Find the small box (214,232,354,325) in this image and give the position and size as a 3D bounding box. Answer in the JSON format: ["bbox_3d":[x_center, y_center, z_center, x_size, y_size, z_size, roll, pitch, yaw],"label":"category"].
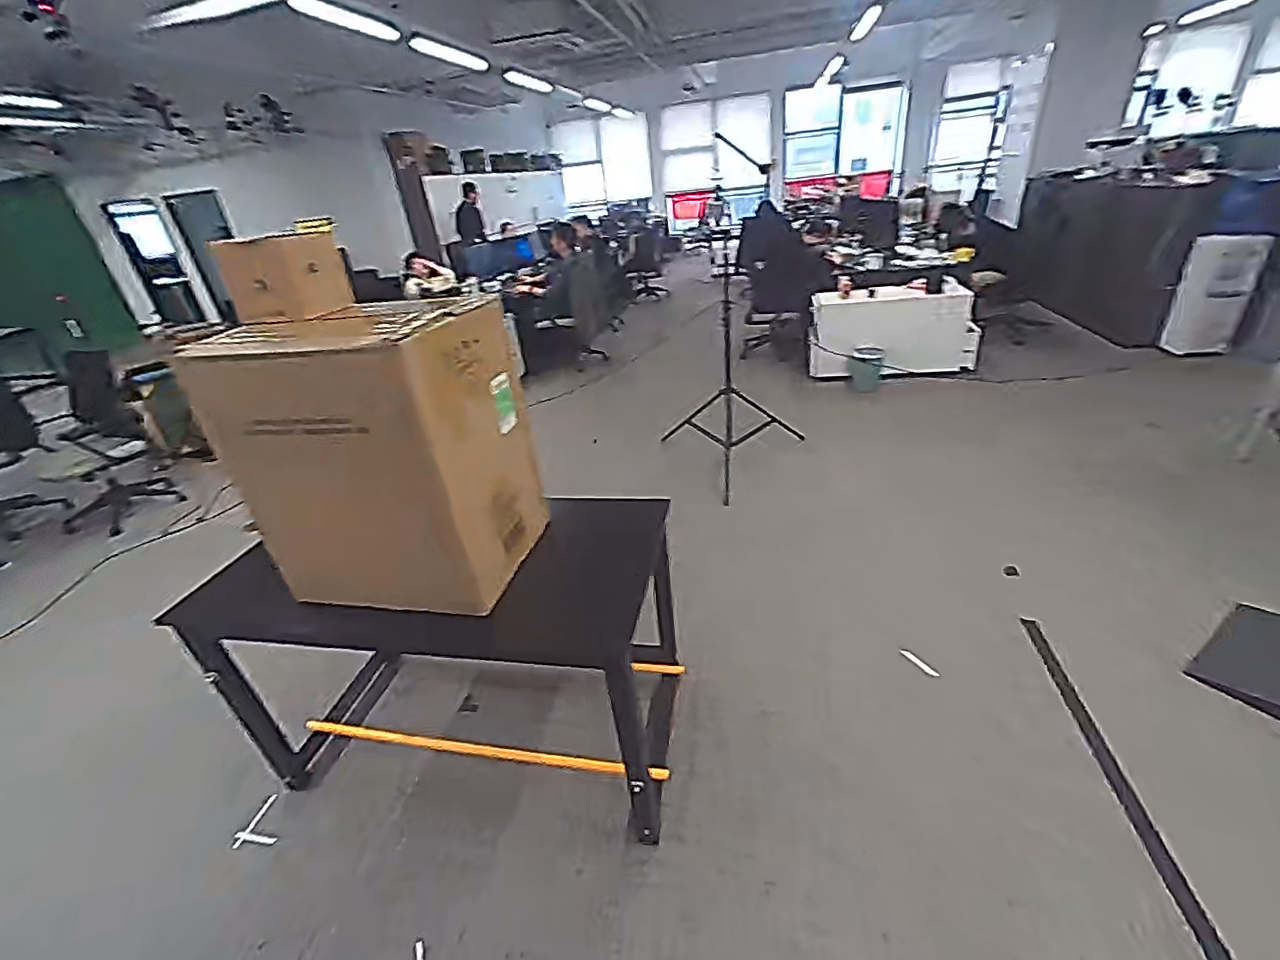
[{"bbox_3d":[-0.778,-0.446,1.206,0.168,0.176,0.179,-1,28,10],"label":"small box"}]
